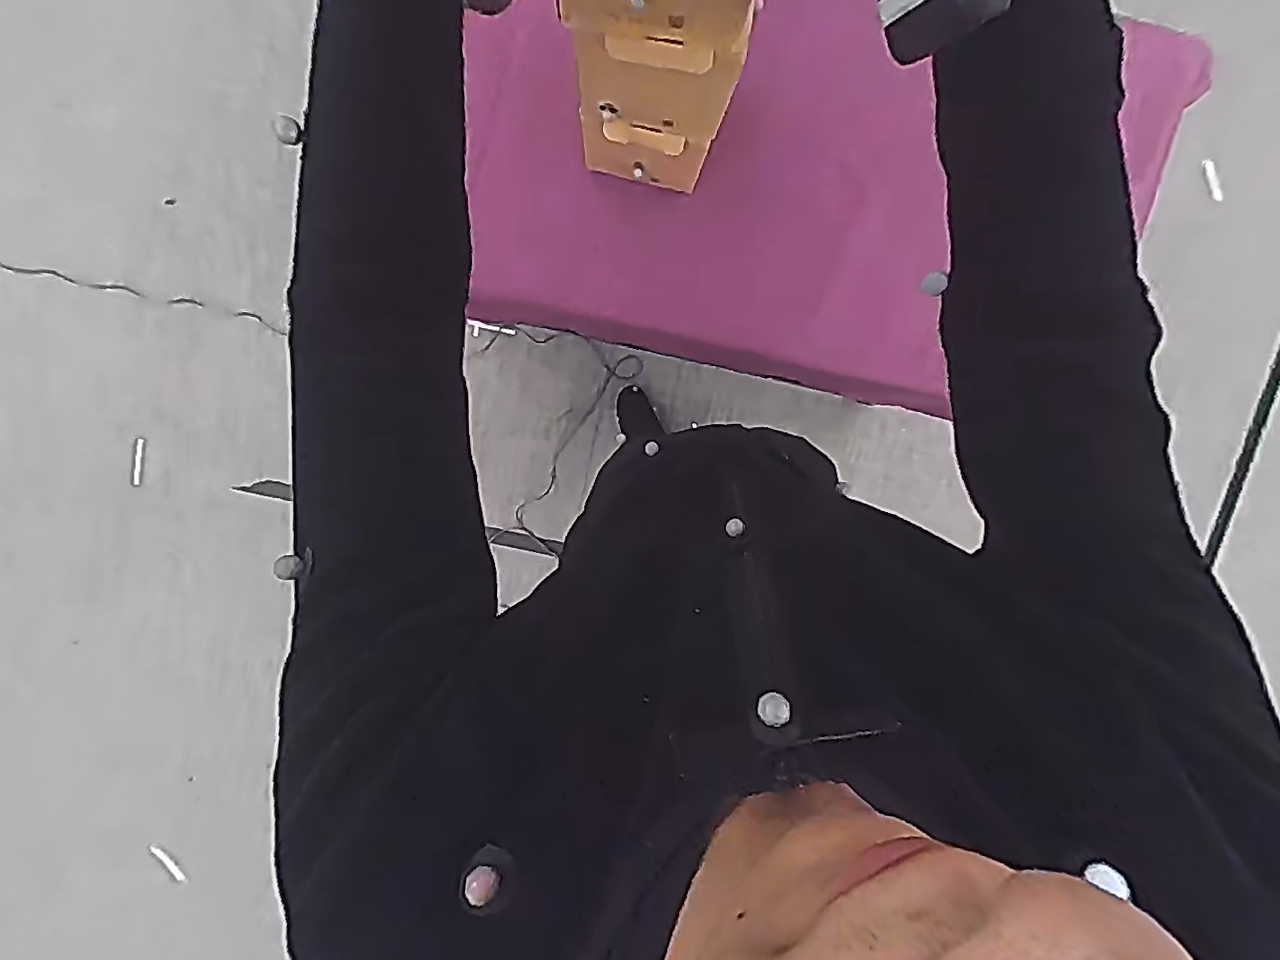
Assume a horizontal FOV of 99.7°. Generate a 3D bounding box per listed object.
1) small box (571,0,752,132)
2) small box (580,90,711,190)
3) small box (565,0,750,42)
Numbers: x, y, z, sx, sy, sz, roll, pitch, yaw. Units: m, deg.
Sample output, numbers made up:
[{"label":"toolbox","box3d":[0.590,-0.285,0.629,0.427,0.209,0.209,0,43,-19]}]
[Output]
[{"label":"small box","box3d":[0.025,-0.502,0.565,0.168,0.176,0.179,7,98,-5]},{"label":"small box","box3d":[0.018,-0.527,0.727,0.168,0.176,0.179,11,98,-4]},{"label":"small box","box3d":[0.020,-0.482,0.403,0.168,0.176,0.179,3,99,-4]}]
